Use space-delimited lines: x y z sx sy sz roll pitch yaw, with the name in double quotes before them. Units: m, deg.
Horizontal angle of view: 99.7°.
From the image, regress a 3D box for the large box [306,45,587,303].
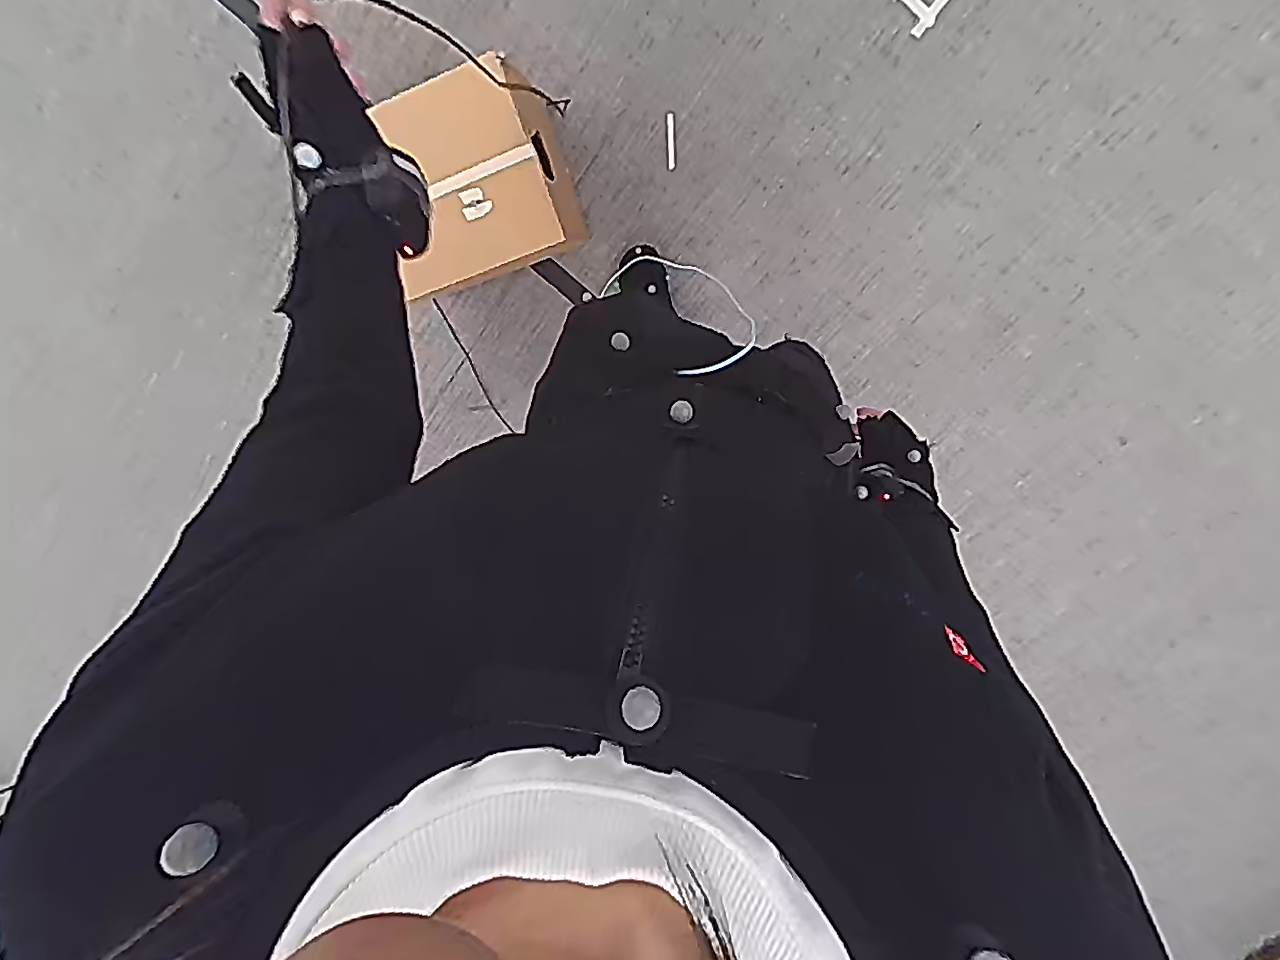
"large box" -0.365 -0.597 1.128 0.408 0.320 0.320 -16 112 10
